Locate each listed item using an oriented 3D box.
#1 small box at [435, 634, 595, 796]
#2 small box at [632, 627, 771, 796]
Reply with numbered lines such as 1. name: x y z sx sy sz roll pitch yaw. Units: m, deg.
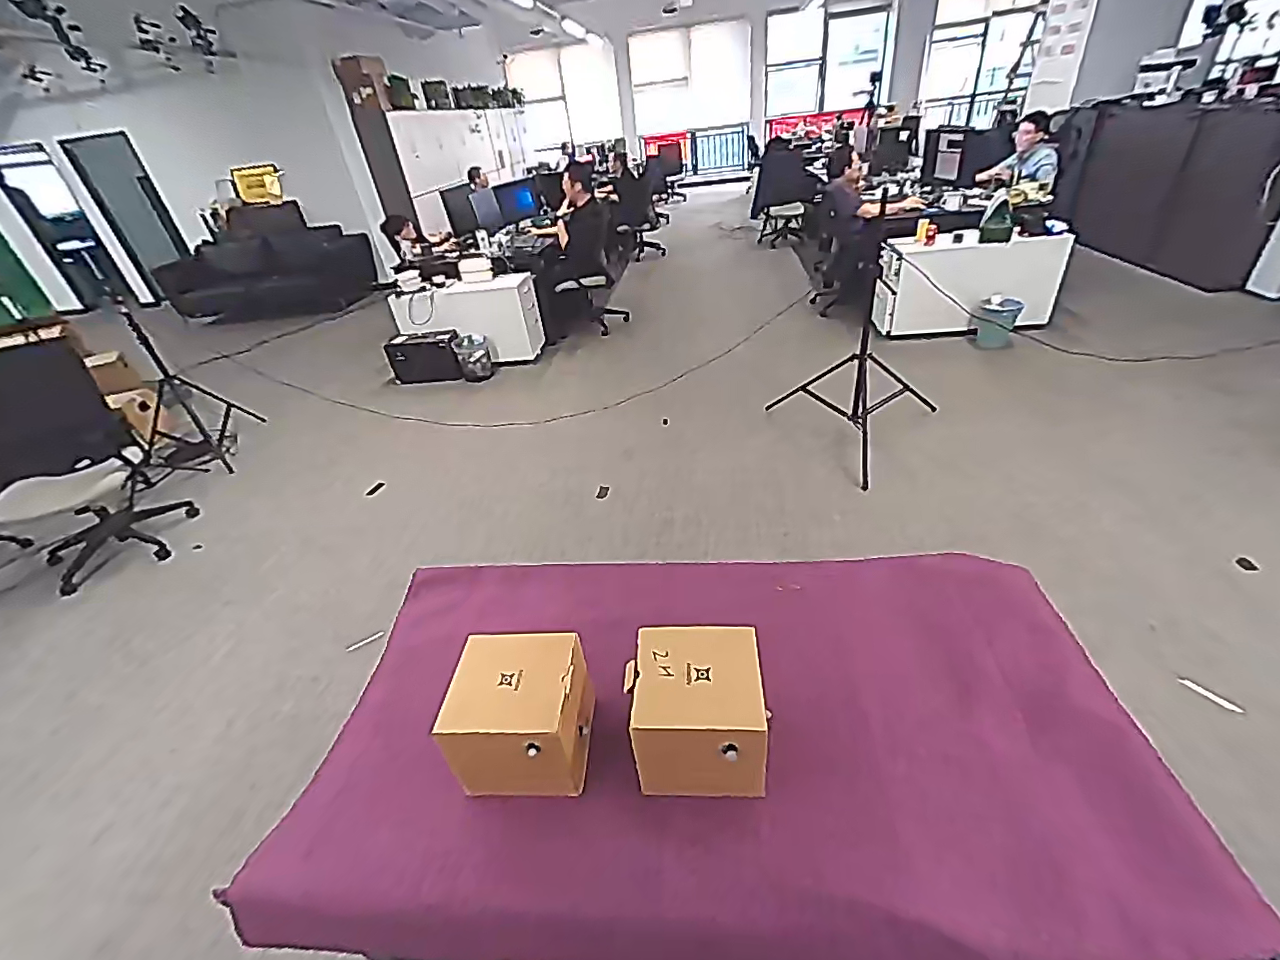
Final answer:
1. small box: -0.174 0.354 0.816 0.179 0.176 0.168 -3 34 5
2. small box: 0.090 0.335 0.786 0.179 0.176 0.168 -3 33 7
